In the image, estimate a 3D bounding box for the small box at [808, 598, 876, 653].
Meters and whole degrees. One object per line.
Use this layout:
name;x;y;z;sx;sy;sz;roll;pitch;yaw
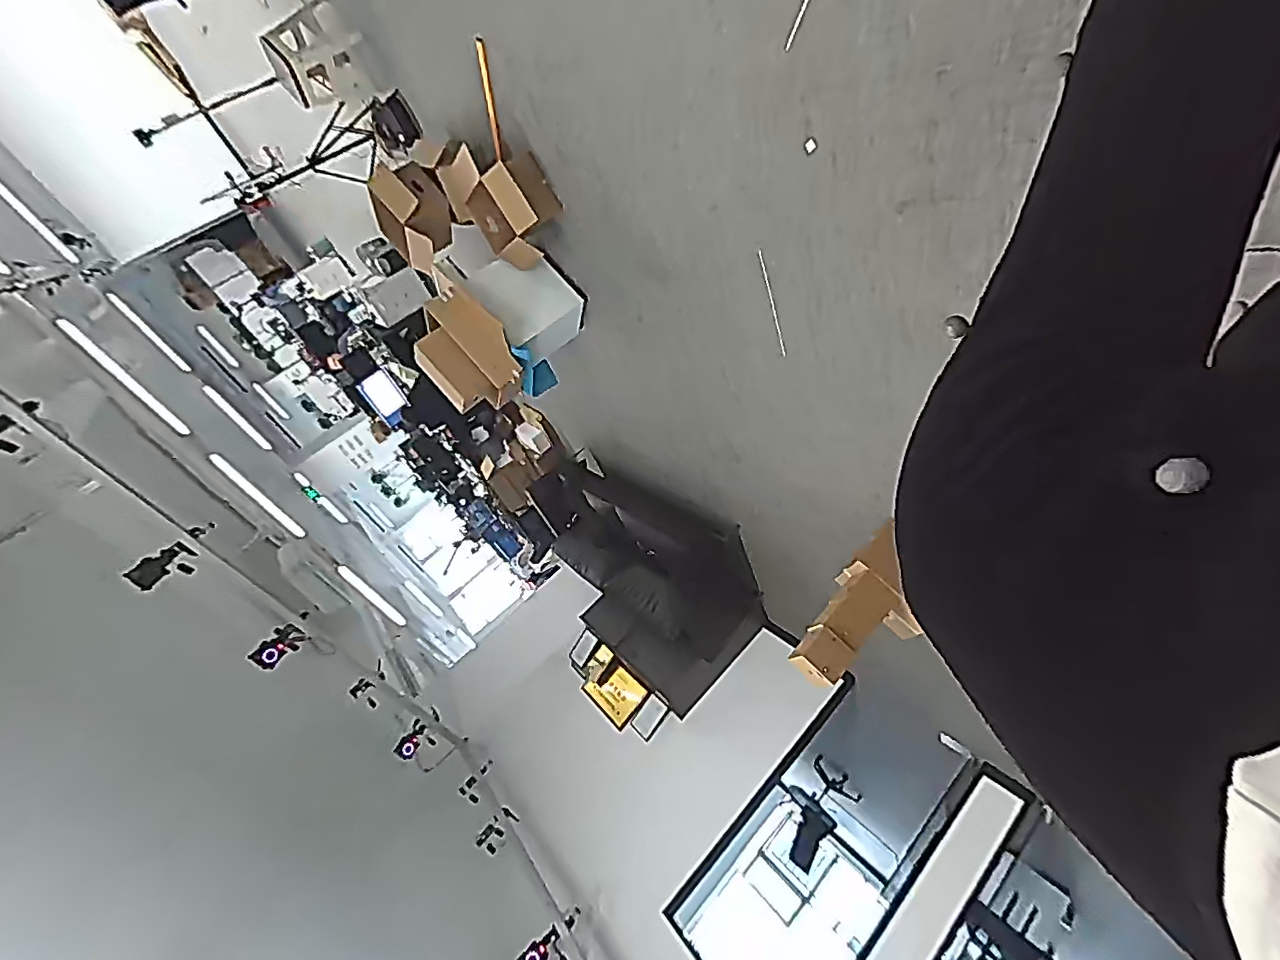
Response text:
small box;0.858;0.620;2.297;0.179;0.176;0.168;42;160;13

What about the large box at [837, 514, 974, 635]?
large box;1.192;0.430;2.461;0.408;0.320;0.320;41;161;17

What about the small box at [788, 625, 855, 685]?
small box;0.750;0.723;2.228;0.168;0.176;0.179;42;160;12
